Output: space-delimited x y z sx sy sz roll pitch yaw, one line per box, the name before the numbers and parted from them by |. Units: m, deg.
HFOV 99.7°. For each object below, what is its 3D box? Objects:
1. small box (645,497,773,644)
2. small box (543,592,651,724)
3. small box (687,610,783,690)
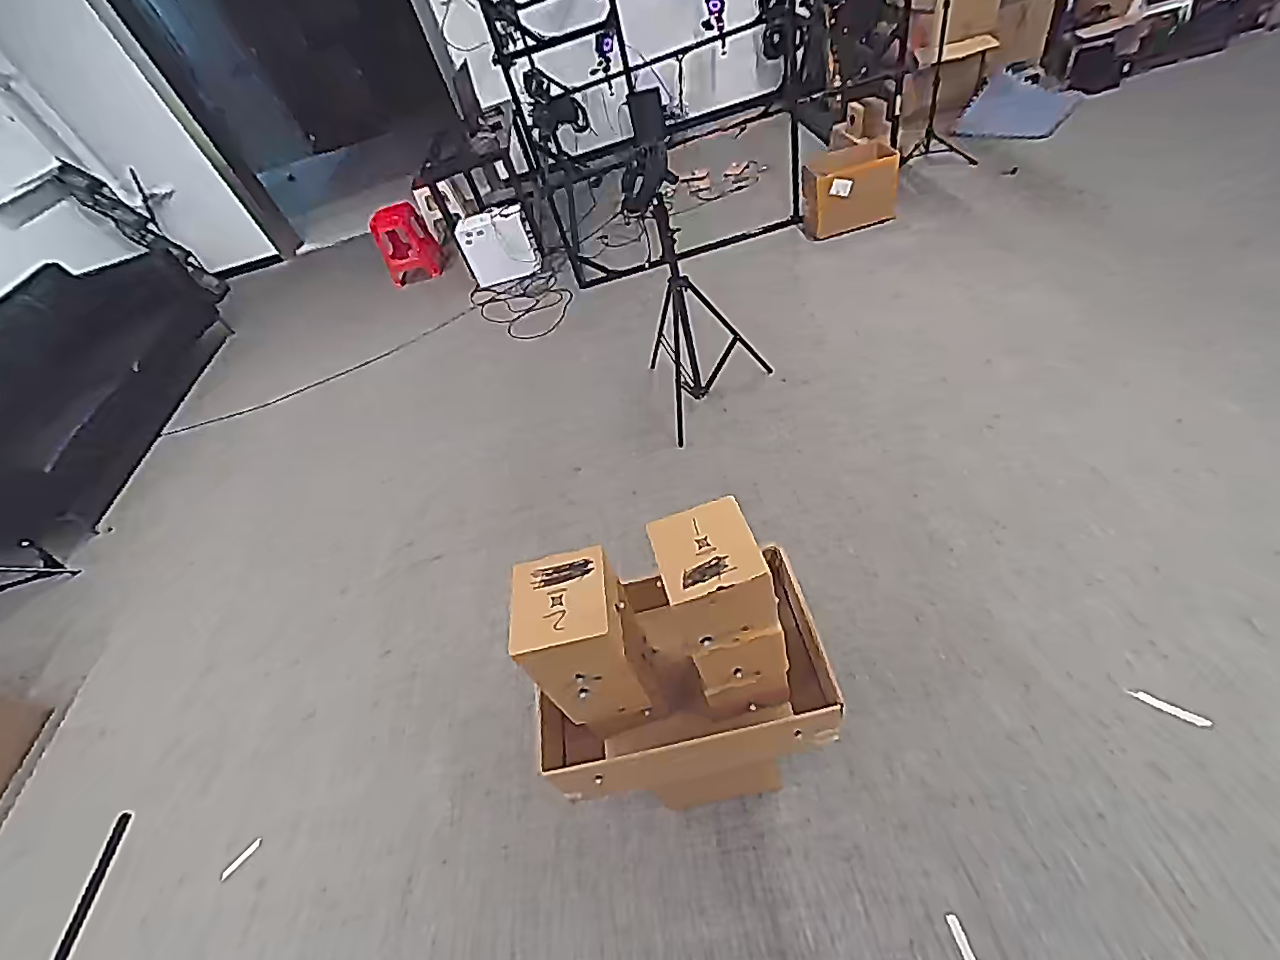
small box | 0.122 0.166 0.947 0.168 0.176 0.179 -19 46 1
small box | -0.084 0.356 1.073 0.168 0.176 0.179 -16 45 6
small box | 0.171 0.280 1.056 0.168 0.176 0.179 -18 47 3
